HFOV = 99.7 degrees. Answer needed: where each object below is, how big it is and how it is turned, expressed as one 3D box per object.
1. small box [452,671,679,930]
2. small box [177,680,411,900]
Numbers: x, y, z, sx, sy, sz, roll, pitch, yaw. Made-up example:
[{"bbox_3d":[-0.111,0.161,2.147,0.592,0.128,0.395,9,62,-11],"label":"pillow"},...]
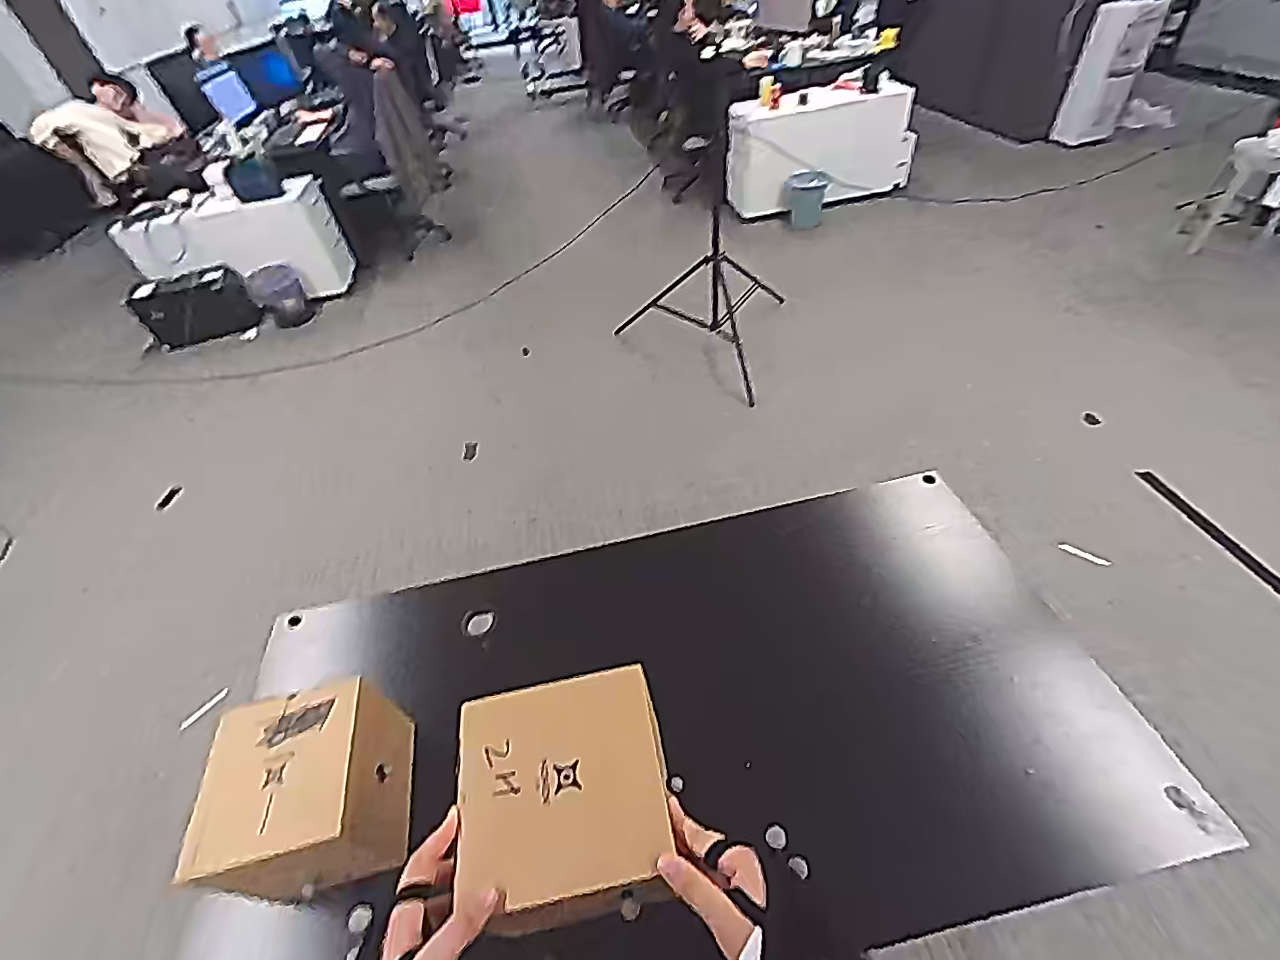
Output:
[{"bbox_3d":[-0.062,0.310,0.521,0.179,0.176,0.168,-12,47,-2],"label":"small box"},{"bbox_3d":[-0.396,0.378,0.661,0.168,0.176,0.179,-14,47,-5],"label":"small box"}]
